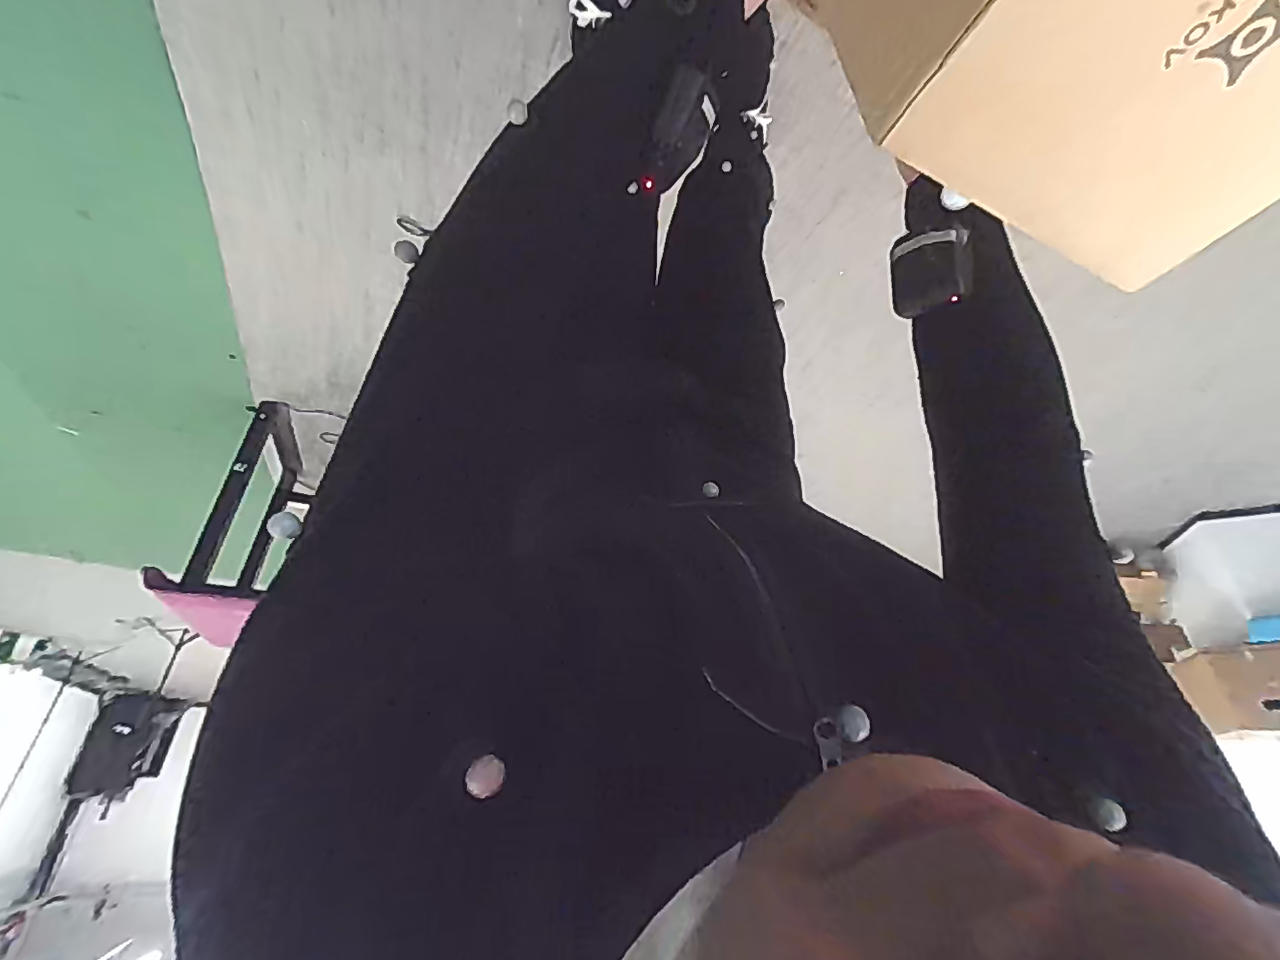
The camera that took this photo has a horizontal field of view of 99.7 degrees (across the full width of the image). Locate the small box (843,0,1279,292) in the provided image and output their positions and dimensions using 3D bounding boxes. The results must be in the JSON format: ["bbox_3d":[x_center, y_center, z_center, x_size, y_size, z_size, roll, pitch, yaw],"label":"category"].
[{"bbox_3d":[0.217,-0.221,0.228,0.179,0.176,0.168,14,146,-20],"label":"small box"}]
